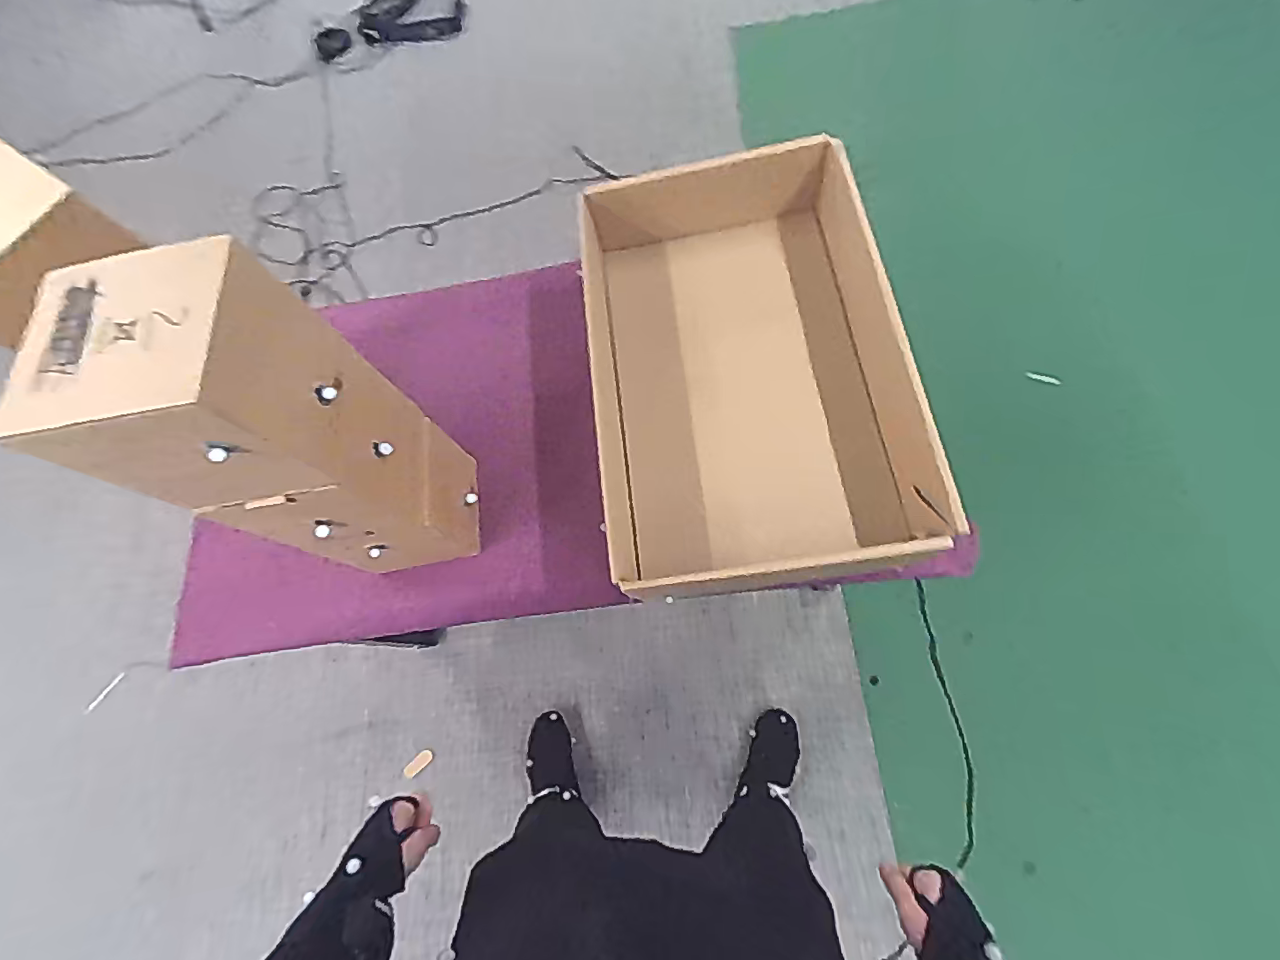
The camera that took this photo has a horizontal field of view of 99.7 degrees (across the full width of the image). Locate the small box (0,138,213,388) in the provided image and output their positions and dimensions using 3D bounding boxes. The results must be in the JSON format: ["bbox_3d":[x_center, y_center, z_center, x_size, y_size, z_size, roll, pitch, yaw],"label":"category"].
[{"bbox_3d":[-0.635,-0.226,0.593,0.179,0.176,0.168,31,78,16],"label":"small box"}]

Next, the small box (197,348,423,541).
[{"bbox_3d":[-0.381,-0.030,0.659,0.168,0.176,0.179,-9,69,4],"label":"small box"}]

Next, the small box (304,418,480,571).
[{"bbox_3d":[-0.358,0.031,0.809,0.179,0.176,0.168,-11,69,4],"label":"small box"}]
